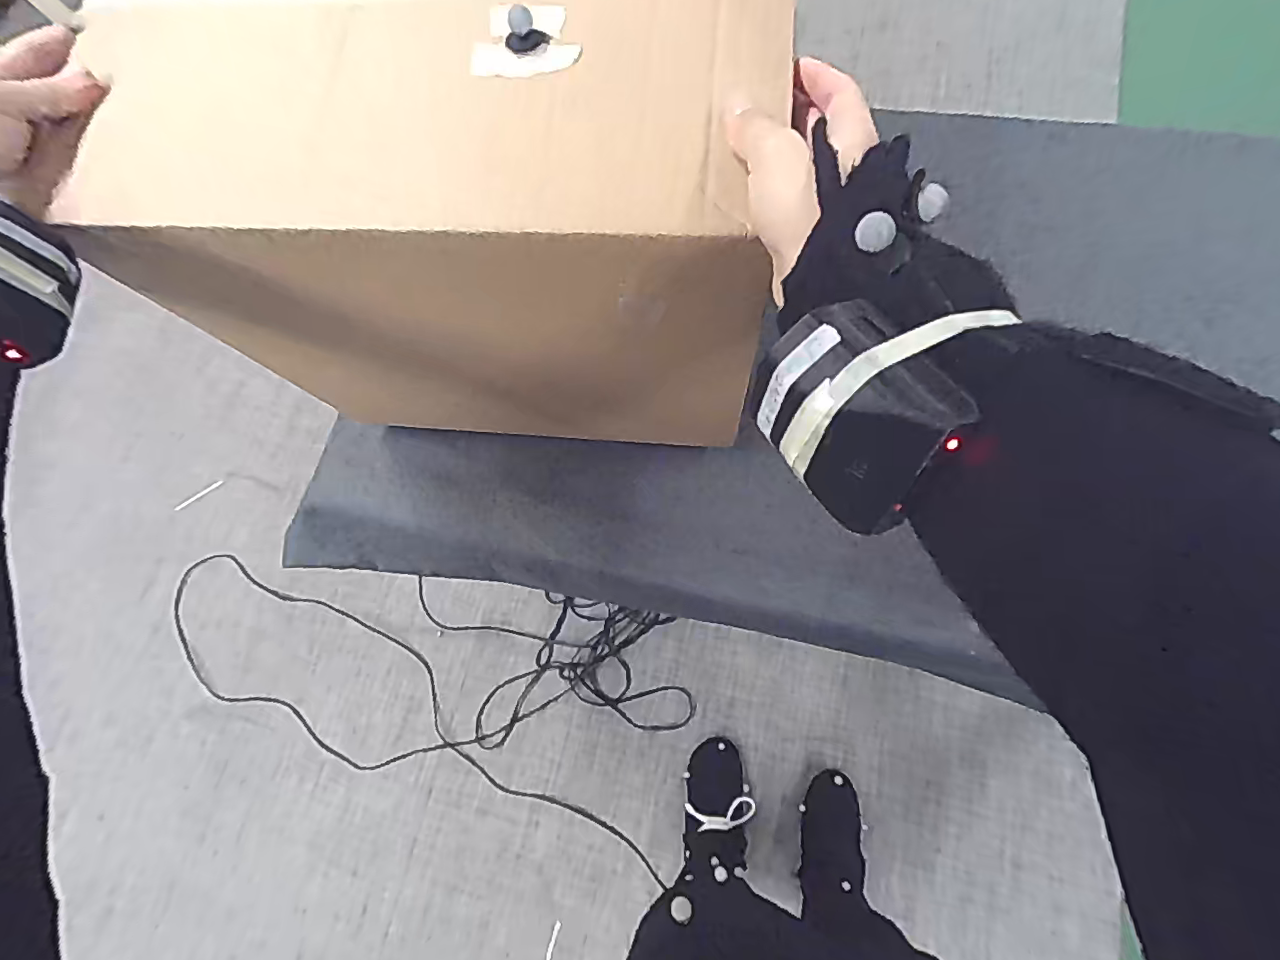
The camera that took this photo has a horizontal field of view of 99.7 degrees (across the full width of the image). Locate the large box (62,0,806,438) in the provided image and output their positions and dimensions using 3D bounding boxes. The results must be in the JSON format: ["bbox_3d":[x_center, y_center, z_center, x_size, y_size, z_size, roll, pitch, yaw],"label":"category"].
[{"bbox_3d":[-0.098,-0.235,0.457,0.408,0.320,0.320,4,77,5],"label":"large box"}]
